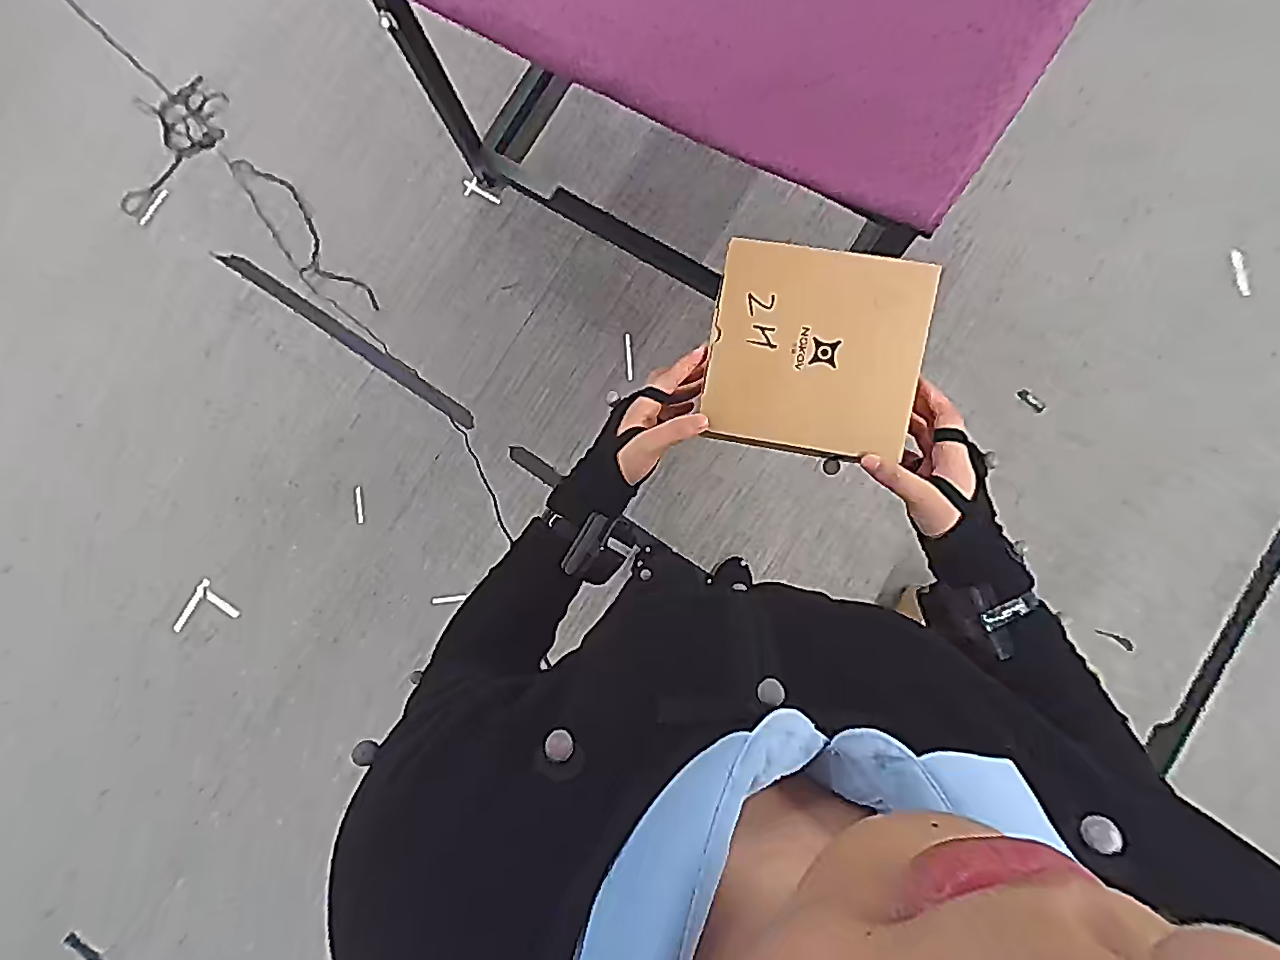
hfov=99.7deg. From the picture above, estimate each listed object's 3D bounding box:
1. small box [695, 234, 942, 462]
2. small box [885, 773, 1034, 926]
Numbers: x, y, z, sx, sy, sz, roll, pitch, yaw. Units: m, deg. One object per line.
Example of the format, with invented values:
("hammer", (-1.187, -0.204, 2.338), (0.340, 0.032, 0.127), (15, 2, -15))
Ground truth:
("small box", (0.154, -0.114, 0.527), (0.179, 0.176, 0.168), (10, 93, 6))
("small box", (0.638, 0.736, 1.107), (0.179, 0.176, 0.168), (28, 87, 6))
